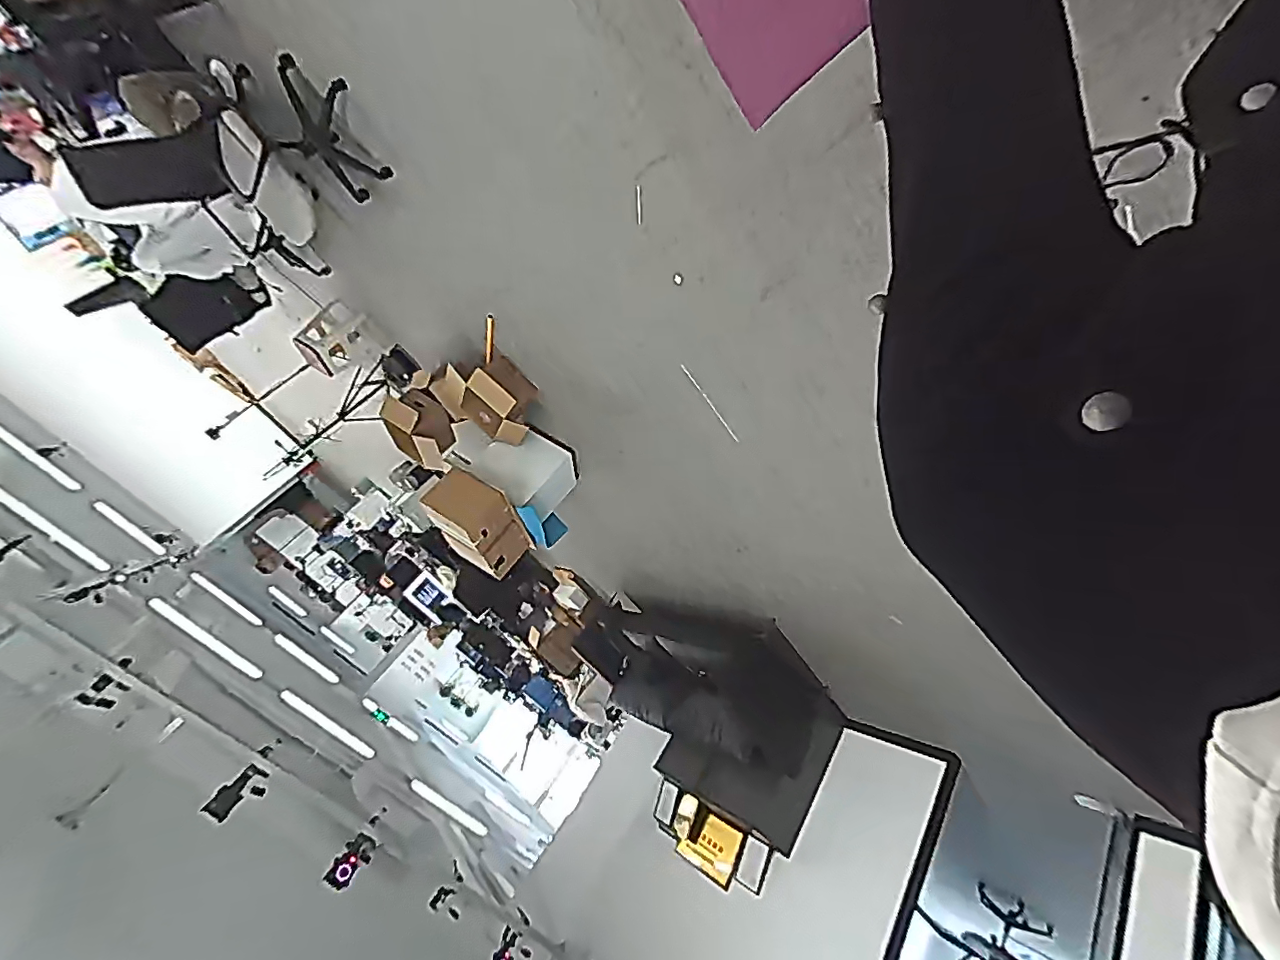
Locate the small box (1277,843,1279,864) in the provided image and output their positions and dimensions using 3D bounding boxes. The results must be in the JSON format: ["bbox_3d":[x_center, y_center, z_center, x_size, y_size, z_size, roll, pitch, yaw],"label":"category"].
[{"bbox_3d":[1.689,0.913,1.314,0.168,0.176,0.179,-3,129,53],"label":"small box"}]

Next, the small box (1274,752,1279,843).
[{"bbox_3d":[1.552,0.737,1.209,0.168,0.176,0.179,4,138,48],"label":"small box"}]
